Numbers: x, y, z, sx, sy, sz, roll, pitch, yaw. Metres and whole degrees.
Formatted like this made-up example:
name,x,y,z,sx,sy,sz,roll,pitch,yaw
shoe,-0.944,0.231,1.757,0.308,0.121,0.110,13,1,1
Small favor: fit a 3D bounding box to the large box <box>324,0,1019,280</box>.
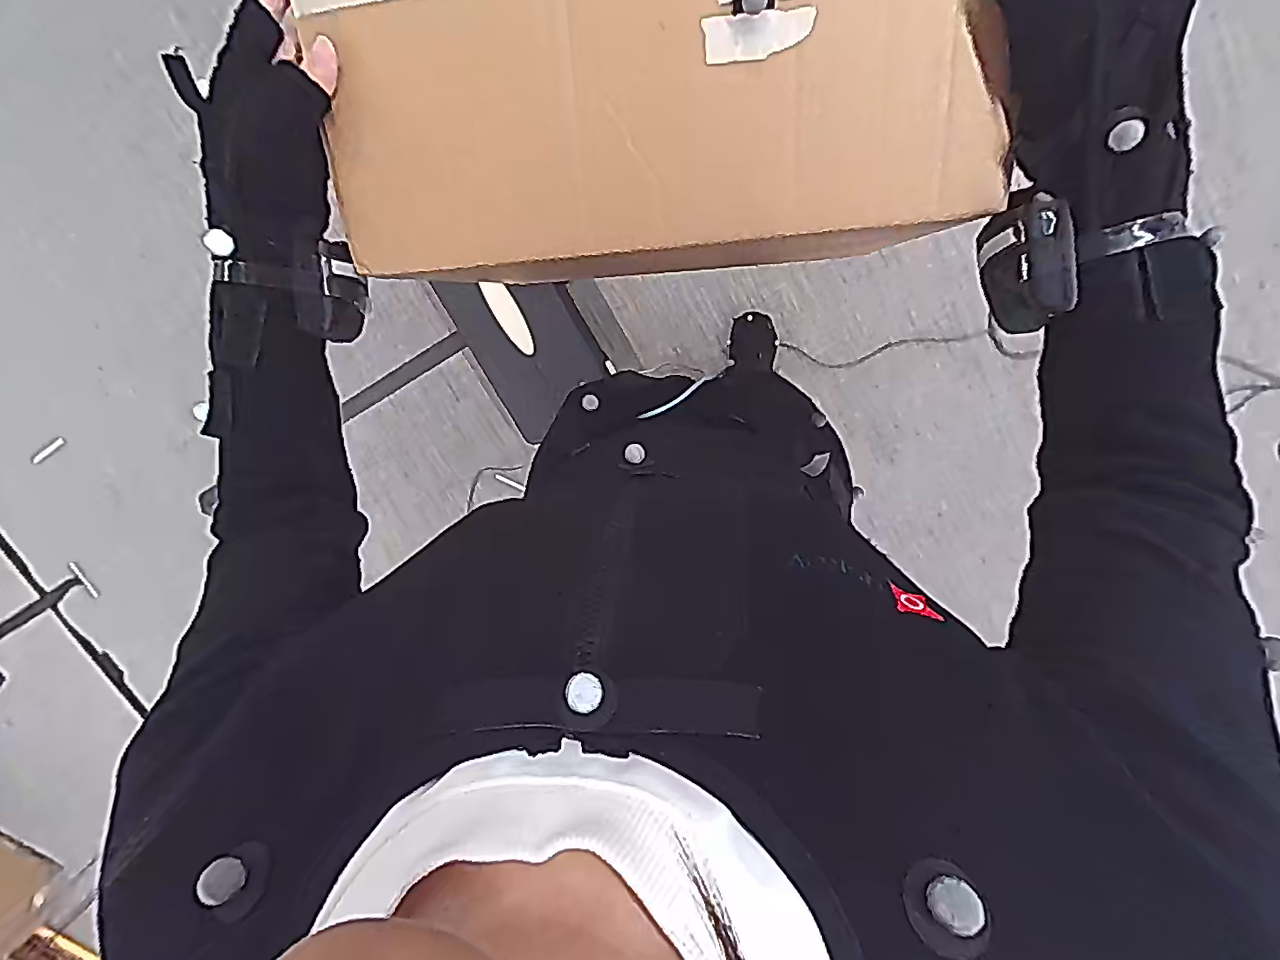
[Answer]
name,x,y,z,sx,sy,sz,roll,pitch,yaw
large box,0.020,-0.351,0.439,0.408,0.320,0.320,-3,109,9
